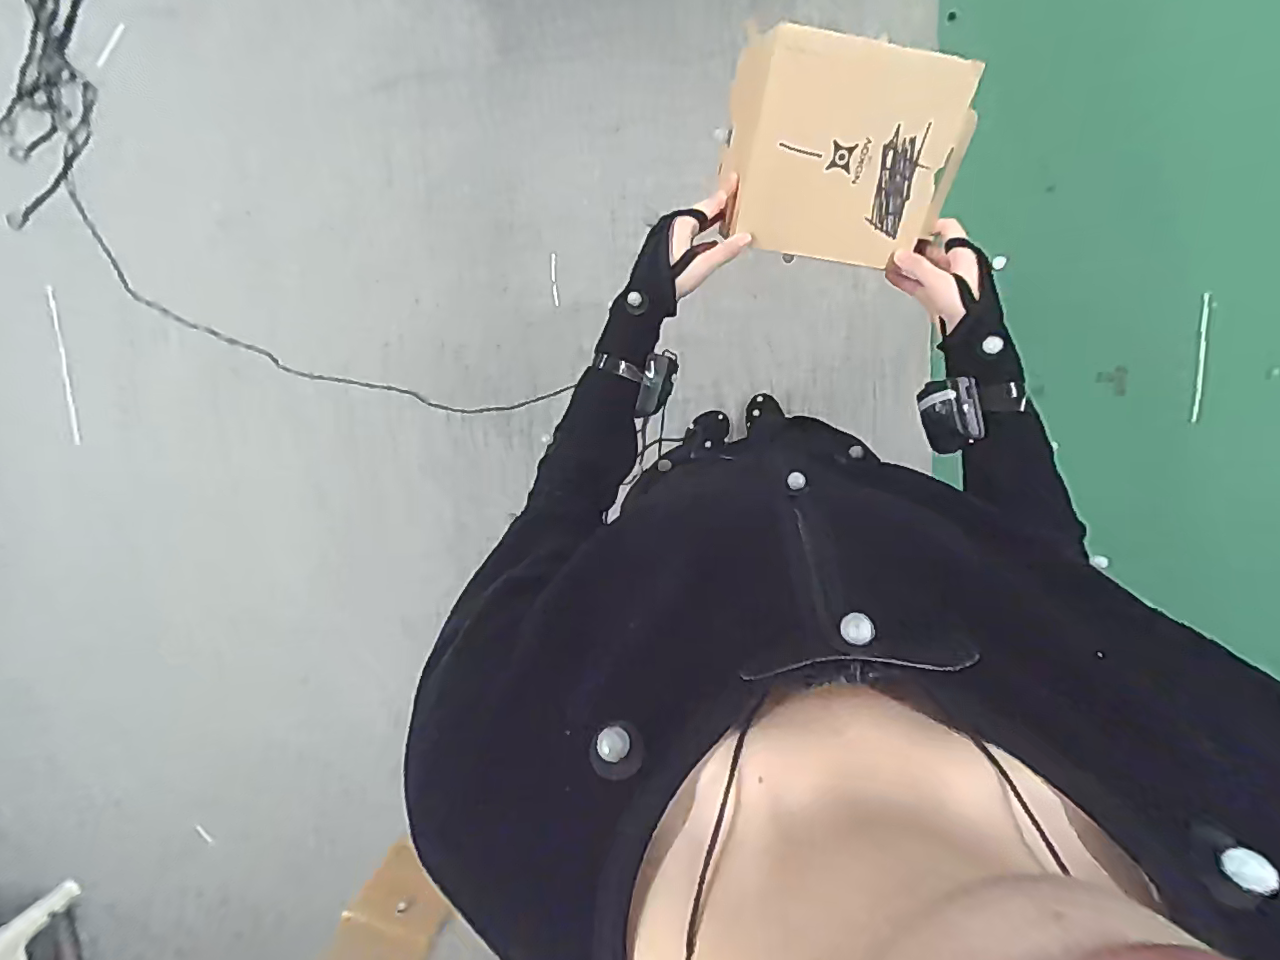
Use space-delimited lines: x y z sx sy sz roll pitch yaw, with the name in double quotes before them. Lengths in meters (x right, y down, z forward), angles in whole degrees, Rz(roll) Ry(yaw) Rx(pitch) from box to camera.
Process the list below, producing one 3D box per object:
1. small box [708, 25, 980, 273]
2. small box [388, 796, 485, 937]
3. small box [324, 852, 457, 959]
"small box" 0.178 -0.318 0.539 0.179 0.176 0.168 6 120 -6
"small box" -0.481 0.891 1.260 0.168 0.176 0.179 17 99 3
"small box" -0.504 0.908 1.101 0.179 0.176 0.168 19 99 2
